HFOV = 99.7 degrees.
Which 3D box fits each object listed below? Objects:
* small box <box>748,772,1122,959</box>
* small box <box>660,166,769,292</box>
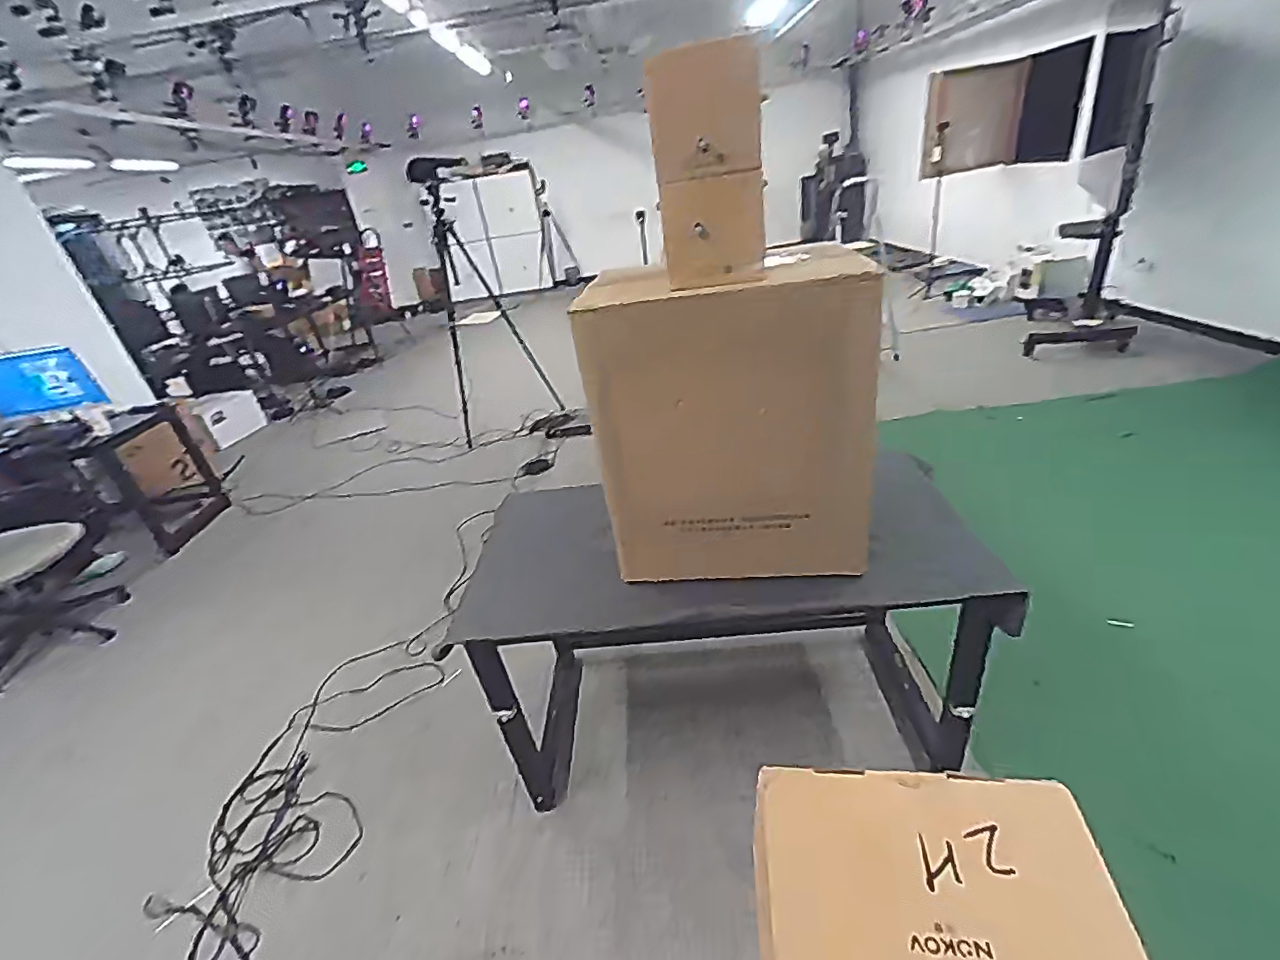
[{"bbox_3d":[0.149,0.291,0.304,0.168,0.176,0.179,-2,41,8],"label":"small box"},{"bbox_3d":[0.135,-0.435,0.947,0.168,0.176,0.179,-3,32,11],"label":"small box"}]
